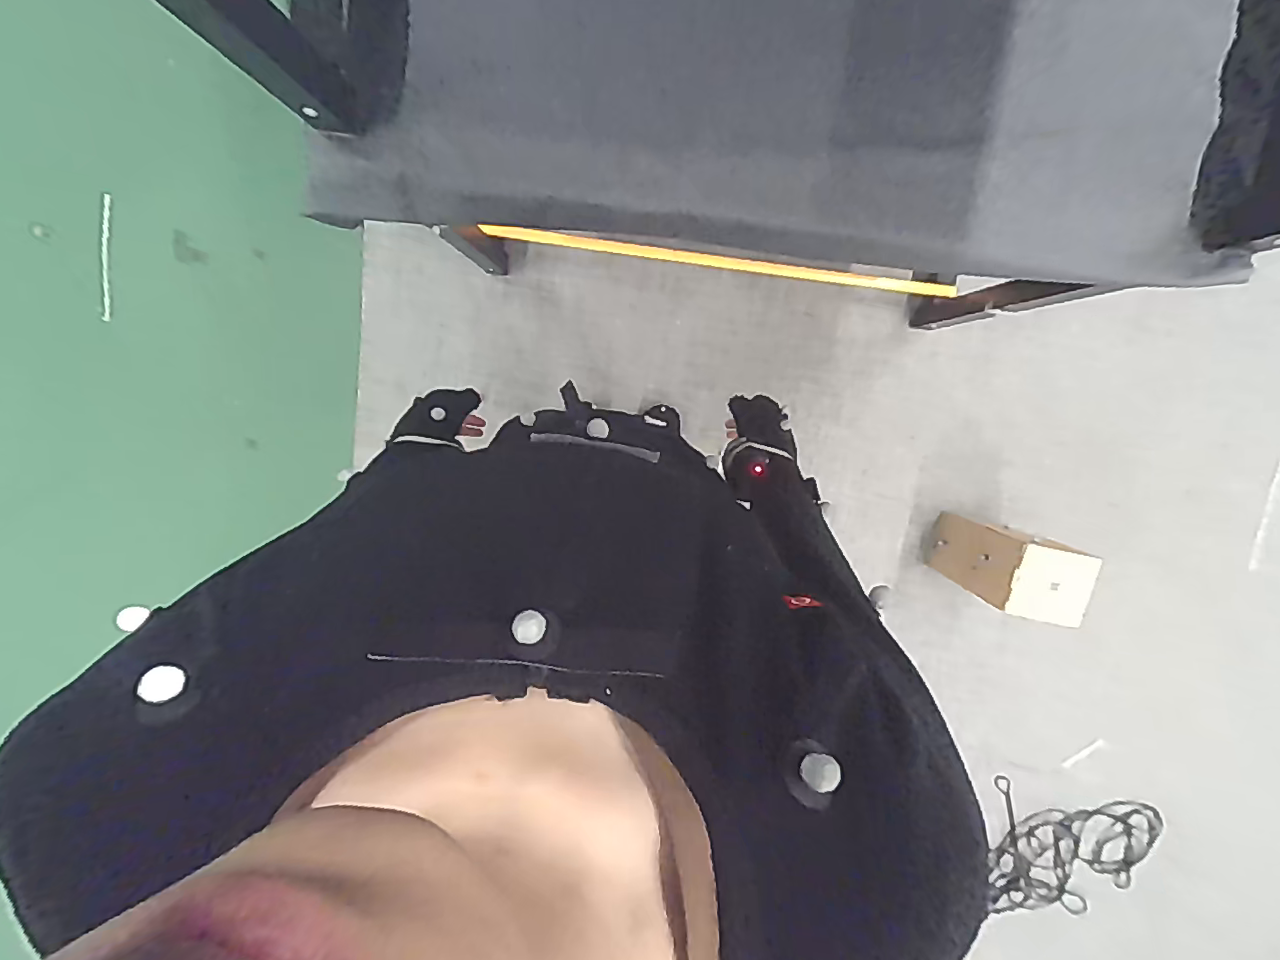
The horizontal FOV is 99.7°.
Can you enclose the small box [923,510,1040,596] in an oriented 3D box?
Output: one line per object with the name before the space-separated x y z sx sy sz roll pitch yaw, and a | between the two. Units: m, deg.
small box | 0.899 0.188 1.437 0.179 0.176 0.168 13 99 -2
